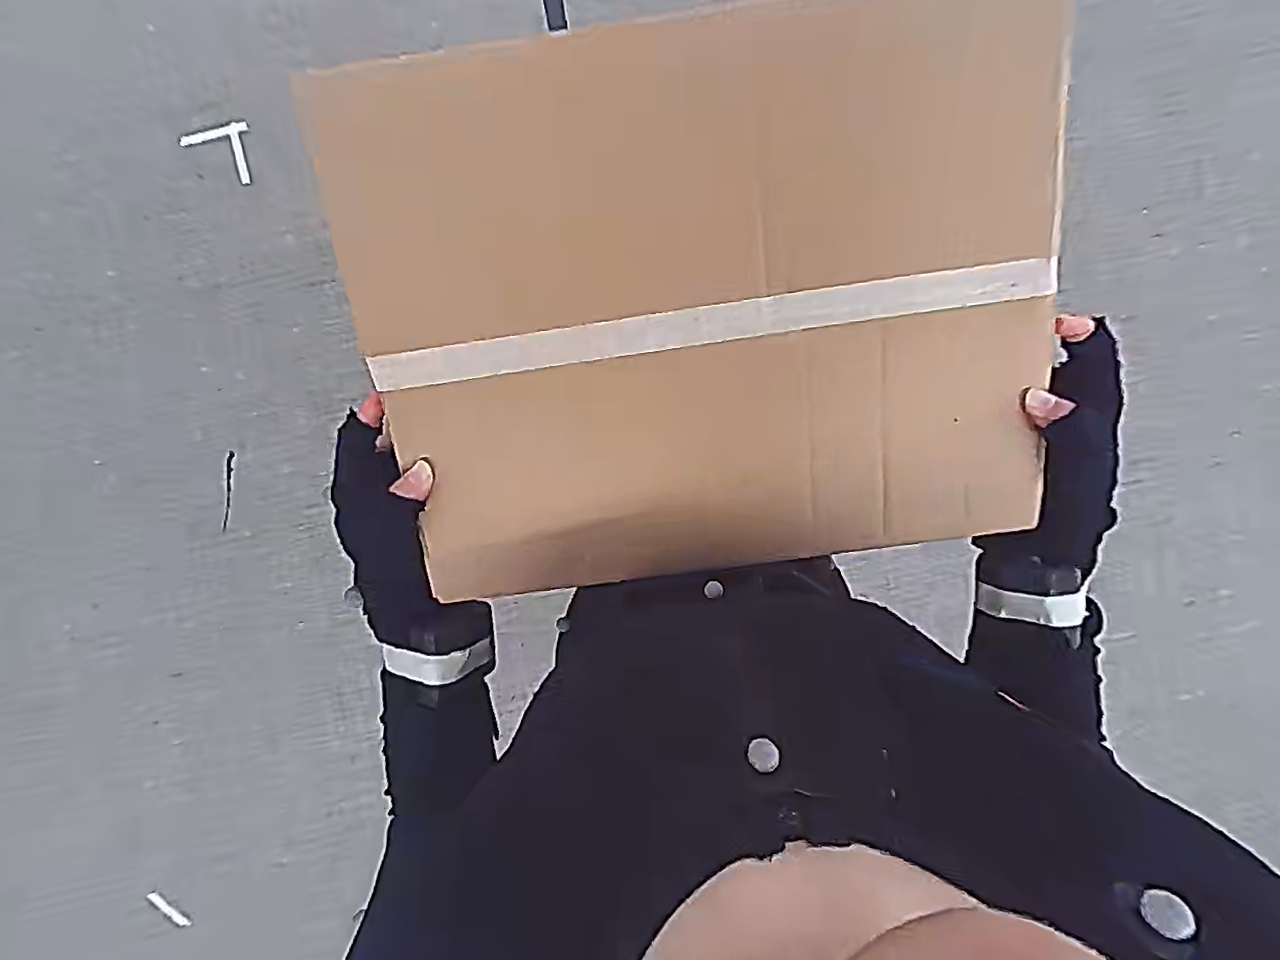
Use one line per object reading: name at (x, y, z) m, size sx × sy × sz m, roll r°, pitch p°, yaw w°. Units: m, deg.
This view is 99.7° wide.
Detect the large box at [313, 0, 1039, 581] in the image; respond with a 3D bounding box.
large box at (0.033, -0.143, 0.472) m, size 0.408 × 0.320 × 0.320 m, roll -8°, pitch 107°, yaw 2°
